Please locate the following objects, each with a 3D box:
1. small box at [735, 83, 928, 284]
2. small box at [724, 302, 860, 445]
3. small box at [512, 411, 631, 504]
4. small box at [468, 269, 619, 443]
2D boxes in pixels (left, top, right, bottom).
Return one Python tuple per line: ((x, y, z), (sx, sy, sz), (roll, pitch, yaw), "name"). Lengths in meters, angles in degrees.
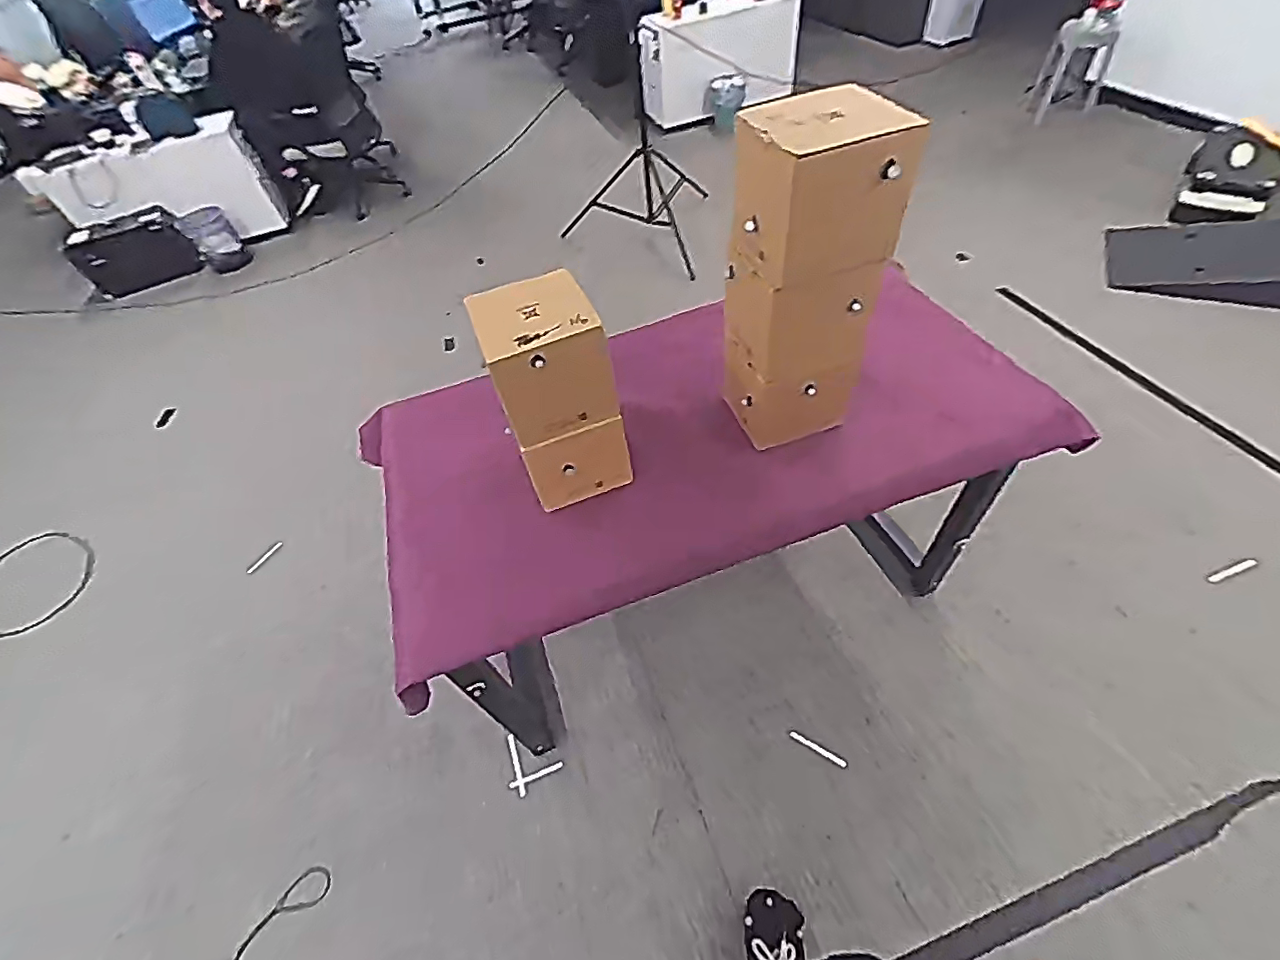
((0.237, -0.393, 0.724), (0.179, 0.176, 0.168), (-19, 51, -6), "small box")
((0.264, -0.188, 0.980), (0.179, 0.176, 0.168), (-18, 52, -7), "small box")
((-0.124, -0.080, 0.950), (0.168, 0.176, 0.179), (-20, 51, -8), "small box")
((-0.144, -0.188, 0.828), (0.168, 0.176, 0.179), (-22, 50, -9), "small box")
